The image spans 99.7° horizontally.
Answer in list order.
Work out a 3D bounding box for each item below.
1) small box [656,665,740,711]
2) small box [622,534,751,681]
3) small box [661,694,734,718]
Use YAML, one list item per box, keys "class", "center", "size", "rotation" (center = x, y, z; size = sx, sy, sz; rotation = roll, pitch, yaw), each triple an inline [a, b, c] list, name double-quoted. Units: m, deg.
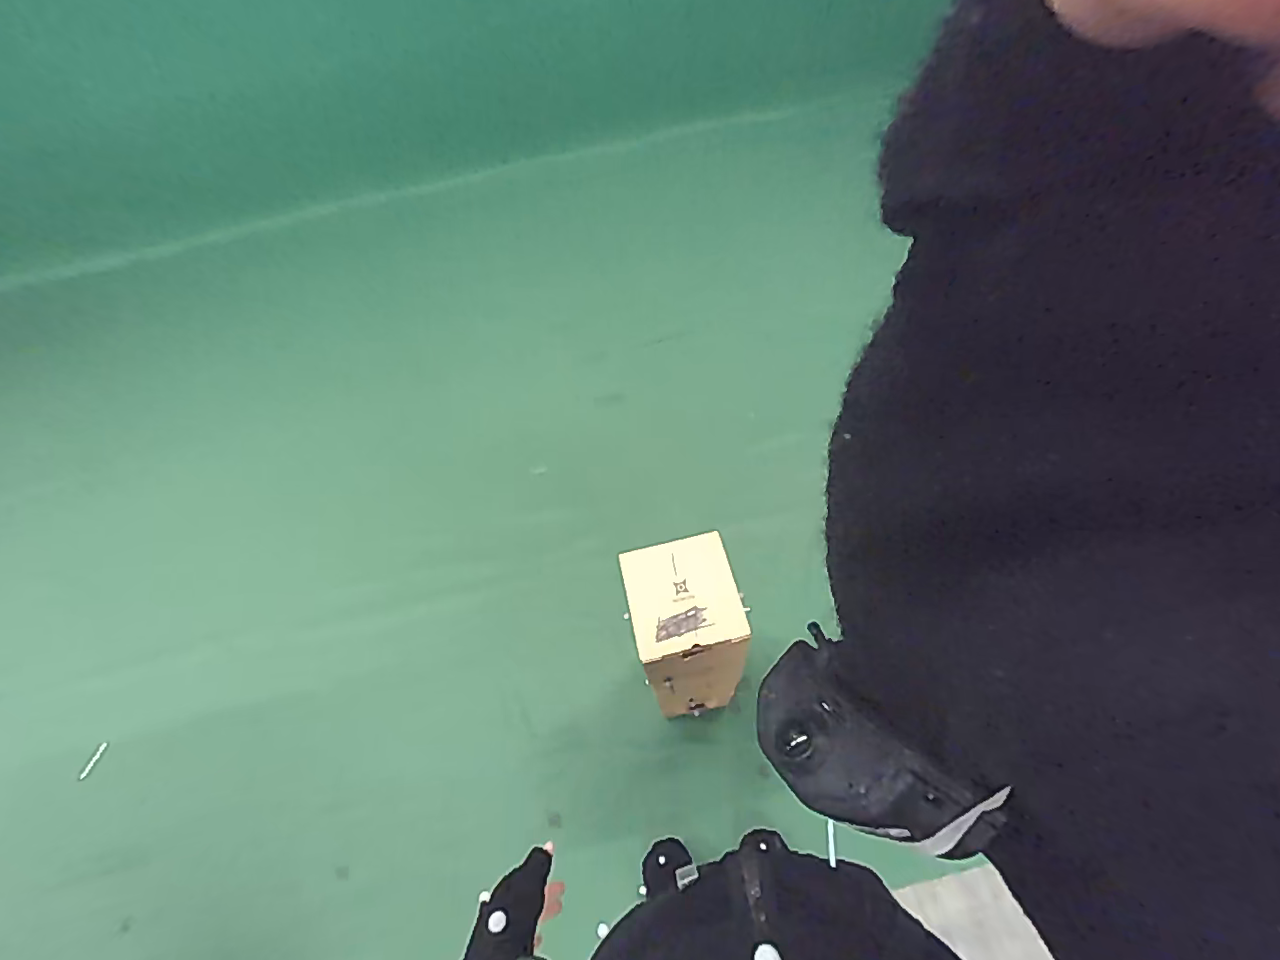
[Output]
- class: "small box"
  center: [0.108, 0.381, 1.169]
  size: [0.168, 0.176, 0.179]
  rotation: [-14, 58, -2]
- class: "small box"
  center: [0.075, 0.217, 0.885]
  size: [0.168, 0.176, 0.179]
  rotation: [-13, 57, -2]
- class: "small box"
  center: [0.124, 0.460, 1.311]
  size: [0.168, 0.176, 0.179]
  rotation: [-12, 58, 0]
